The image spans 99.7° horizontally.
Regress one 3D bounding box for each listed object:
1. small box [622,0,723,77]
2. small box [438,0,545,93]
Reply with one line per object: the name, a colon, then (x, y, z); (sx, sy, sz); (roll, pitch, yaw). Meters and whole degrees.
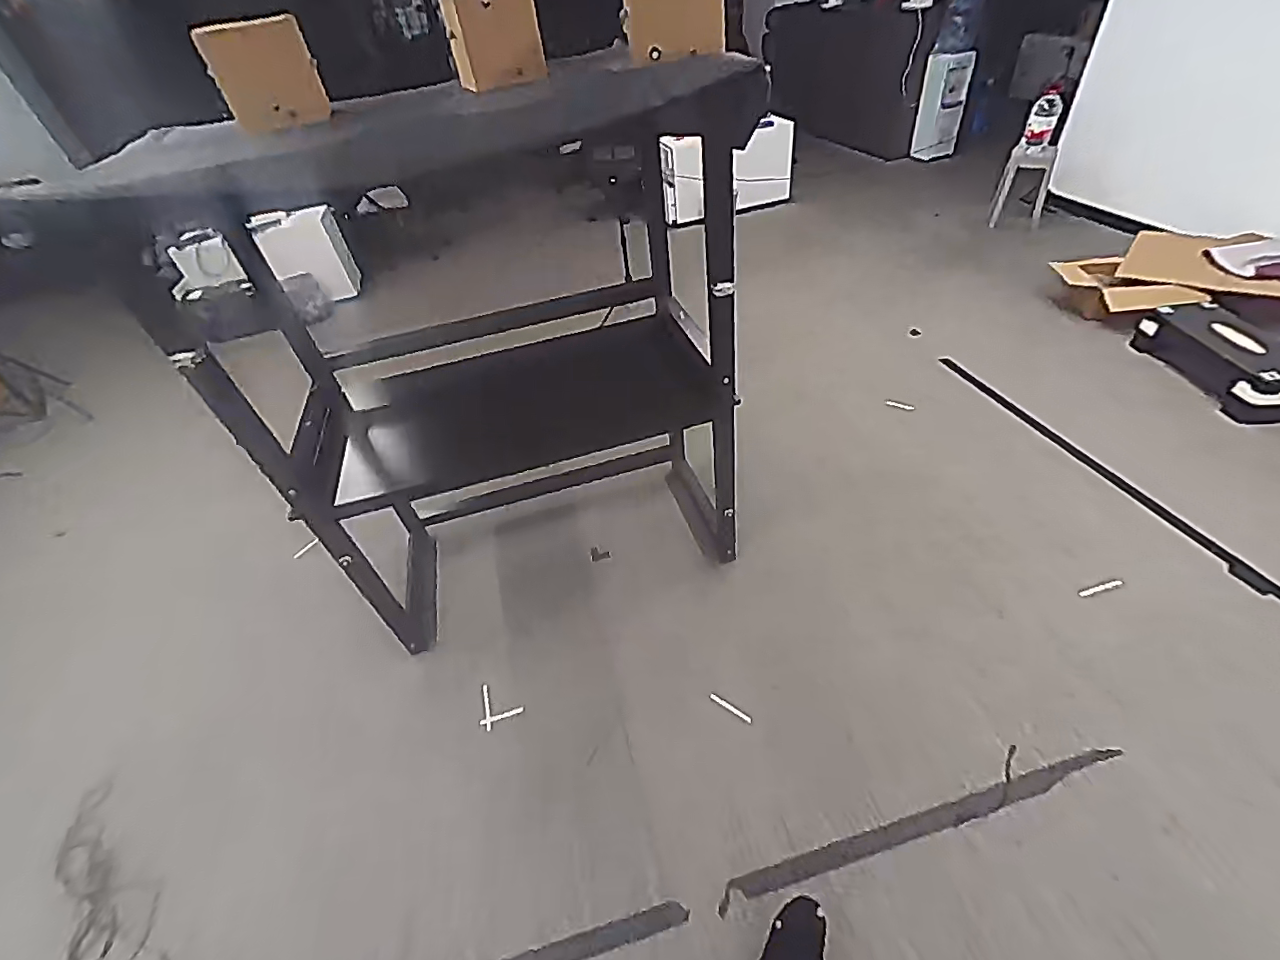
small box: (0.058, -0.879, 1.021); (0.168, 0.176, 0.179); (-10, 41, 0)
small box: (-0.324, -0.966, 1.184); (0.168, 0.176, 0.179); (-23, 44, -13)
